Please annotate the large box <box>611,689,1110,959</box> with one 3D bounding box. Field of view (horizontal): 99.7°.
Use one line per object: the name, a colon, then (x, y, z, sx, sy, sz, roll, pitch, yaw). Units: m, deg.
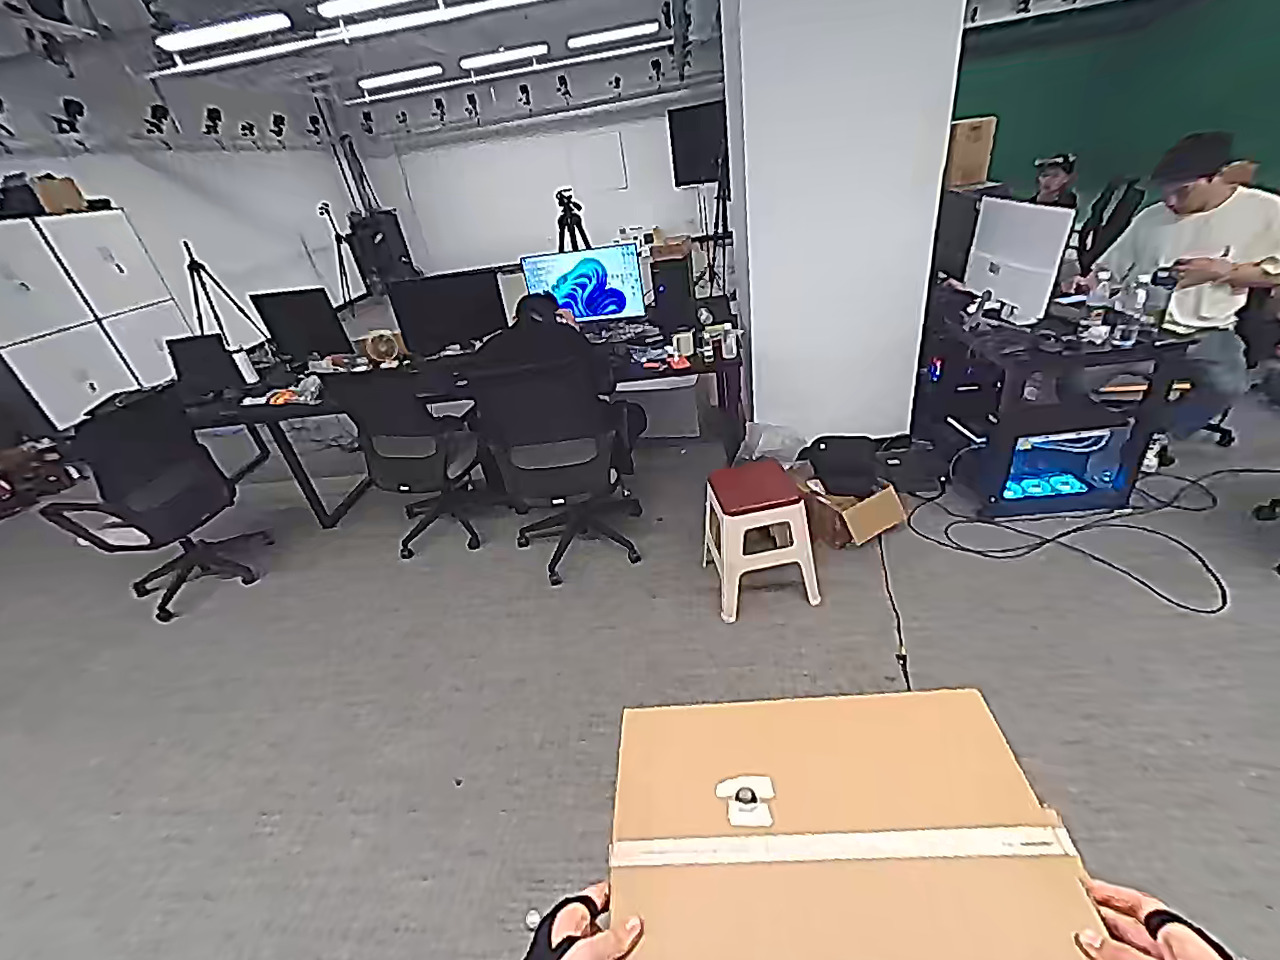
large box: (0.202, 0.472, 0.593, 0.408, 0.320, 0.320, -8, 33, 8)
